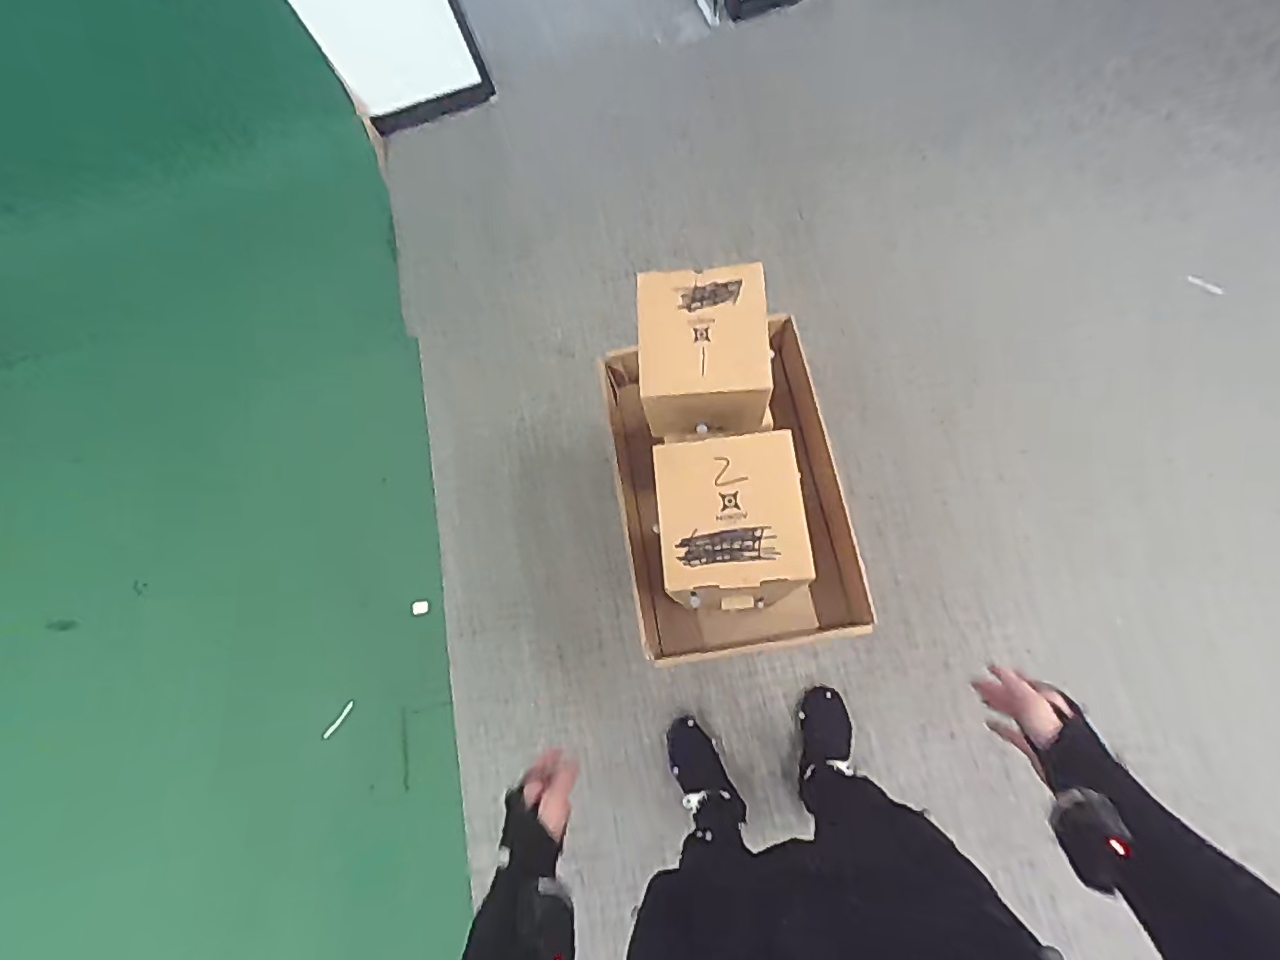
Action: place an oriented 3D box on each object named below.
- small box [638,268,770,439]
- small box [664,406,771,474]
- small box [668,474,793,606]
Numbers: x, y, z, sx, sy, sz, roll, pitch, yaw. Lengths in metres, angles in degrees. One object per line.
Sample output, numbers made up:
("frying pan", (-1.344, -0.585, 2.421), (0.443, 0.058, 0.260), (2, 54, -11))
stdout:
("small box", (0.087, -0.170, 0.766), (0.168, 0.176, 0.179), (-3, 76, 7))
("small box", (0.114, -0.125, 0.923), (0.168, 0.176, 0.179), (-12, 75, 4))
("small box", (0.138, 0.103, 0.848), (0.168, 0.176, 0.179), (-6, 72, 6))
